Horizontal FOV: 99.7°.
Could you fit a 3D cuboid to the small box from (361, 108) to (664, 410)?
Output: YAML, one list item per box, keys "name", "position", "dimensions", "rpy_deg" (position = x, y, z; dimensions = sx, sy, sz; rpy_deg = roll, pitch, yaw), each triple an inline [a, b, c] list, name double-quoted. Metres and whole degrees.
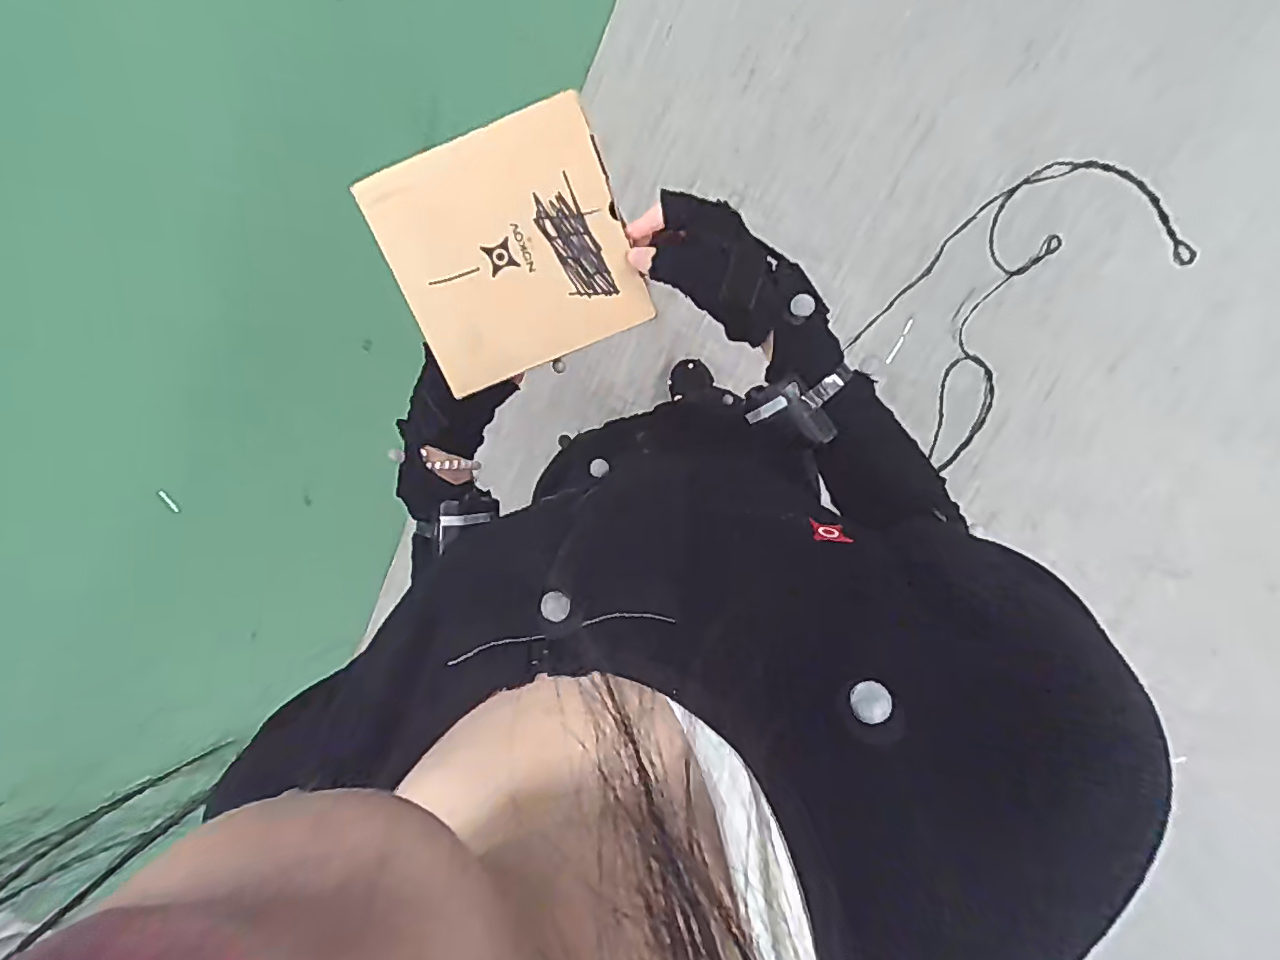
- name: "small box"
  position: [-0.095, -0.180, 0.474]
  dimensions: [0.179, 0.176, 0.168]
  rpy_deg: [-21, 107, 3]
